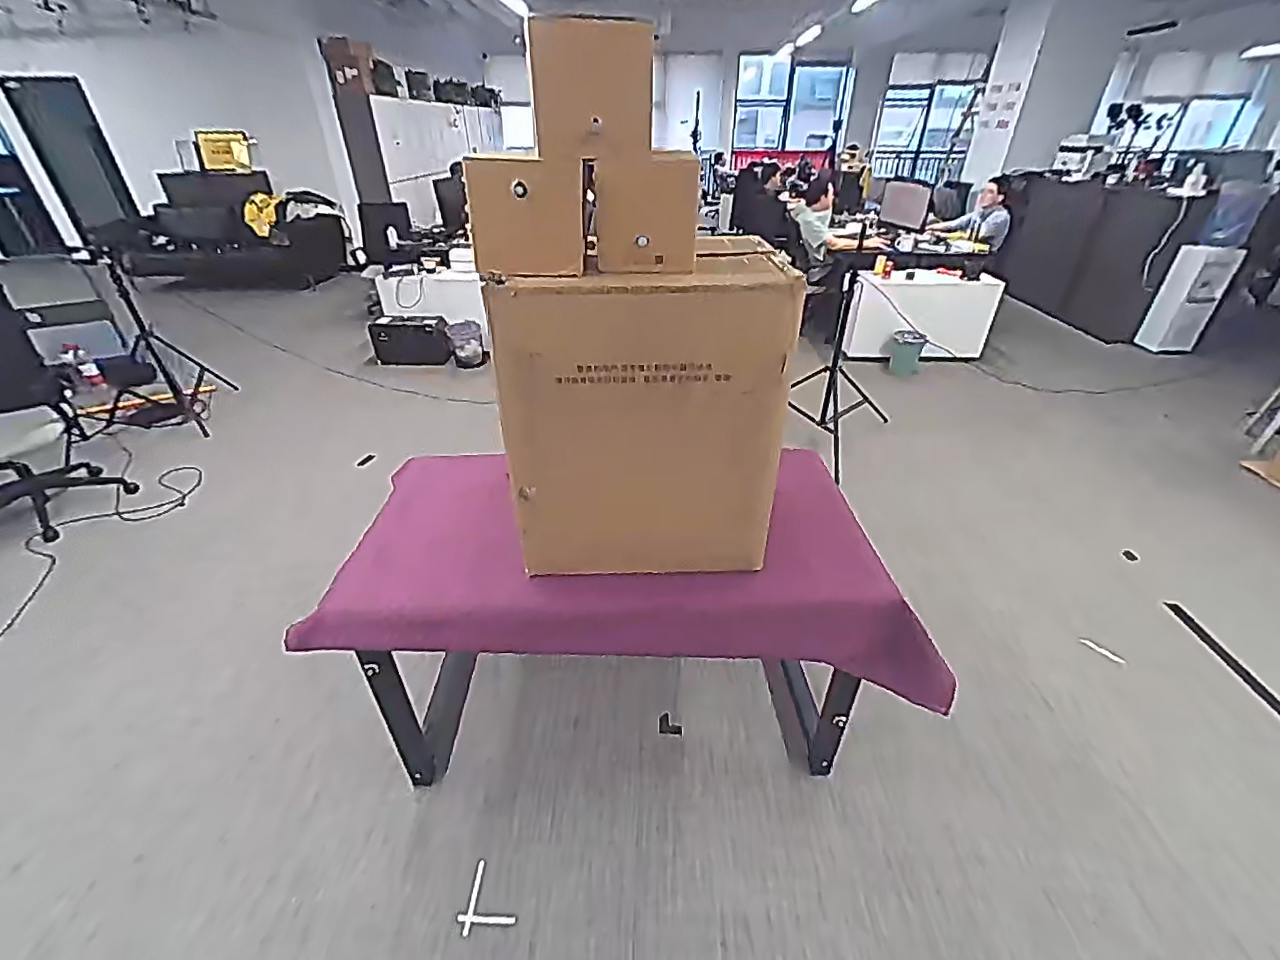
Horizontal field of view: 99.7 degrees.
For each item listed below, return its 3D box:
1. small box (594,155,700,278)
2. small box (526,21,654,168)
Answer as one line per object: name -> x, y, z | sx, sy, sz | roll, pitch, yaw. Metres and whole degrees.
small box -> 0.012, -0.459, 0.935 | 0.168, 0.176, 0.179 | 0, 35, 2
small box -> -0.081, -0.592, 0.840 | 0.179, 0.176, 0.168 | -6, 35, -9
